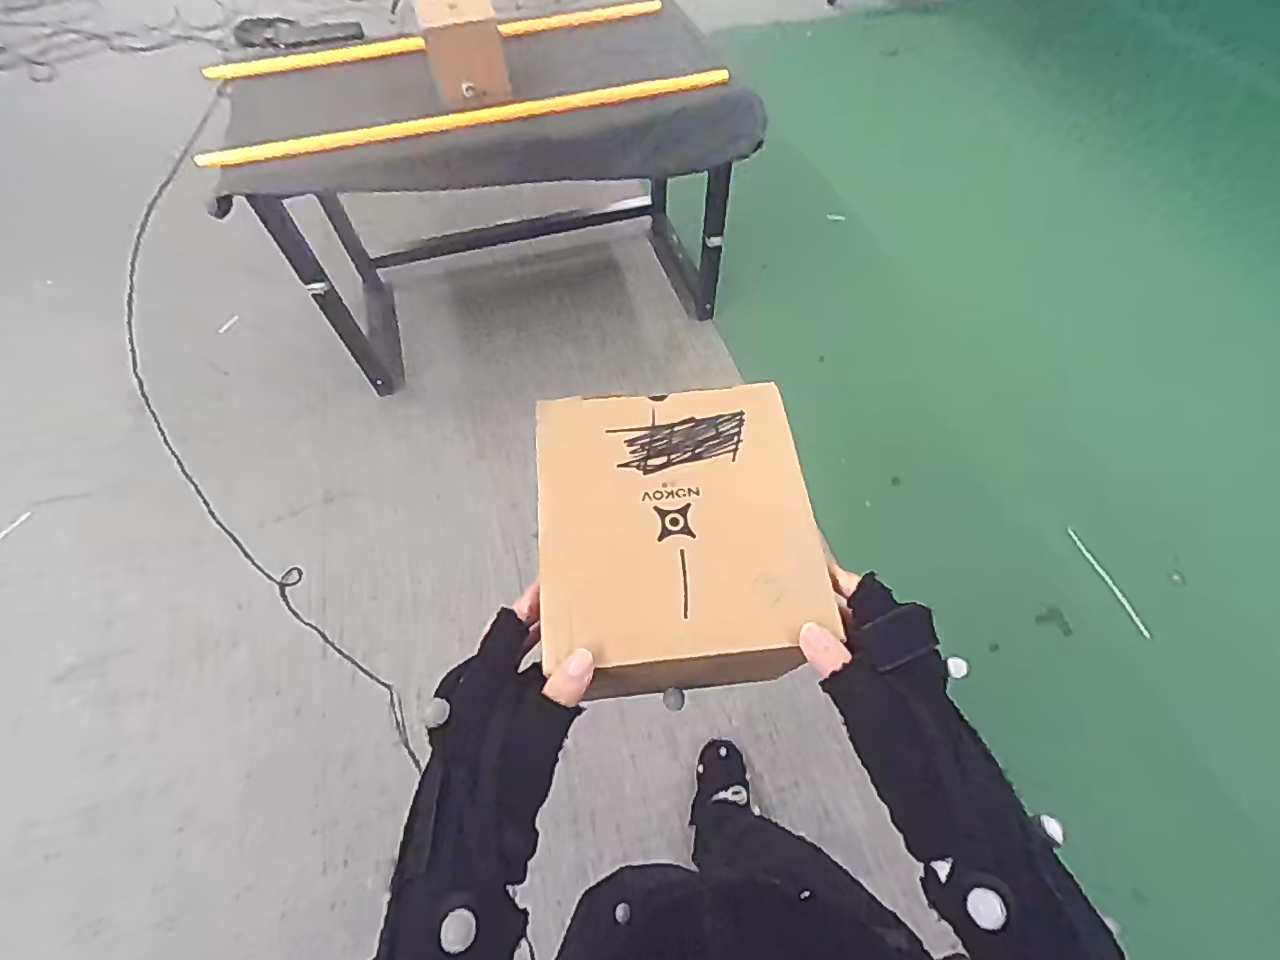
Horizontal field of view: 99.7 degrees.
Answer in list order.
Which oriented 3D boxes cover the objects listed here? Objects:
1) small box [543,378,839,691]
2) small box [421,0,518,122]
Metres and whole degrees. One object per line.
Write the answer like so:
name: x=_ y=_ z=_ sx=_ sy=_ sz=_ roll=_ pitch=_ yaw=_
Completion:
small box: x=0.021 y=0.049 z=0.404 sx=0.168 sy=0.176 sz=0.179 roll=-6 pitch=63 yaw=-2
small box: x=-0.399 y=-0.986 z=1.277 sx=0.168 sy=0.176 sz=0.179 roll=-17 pitch=61 yaw=-7
